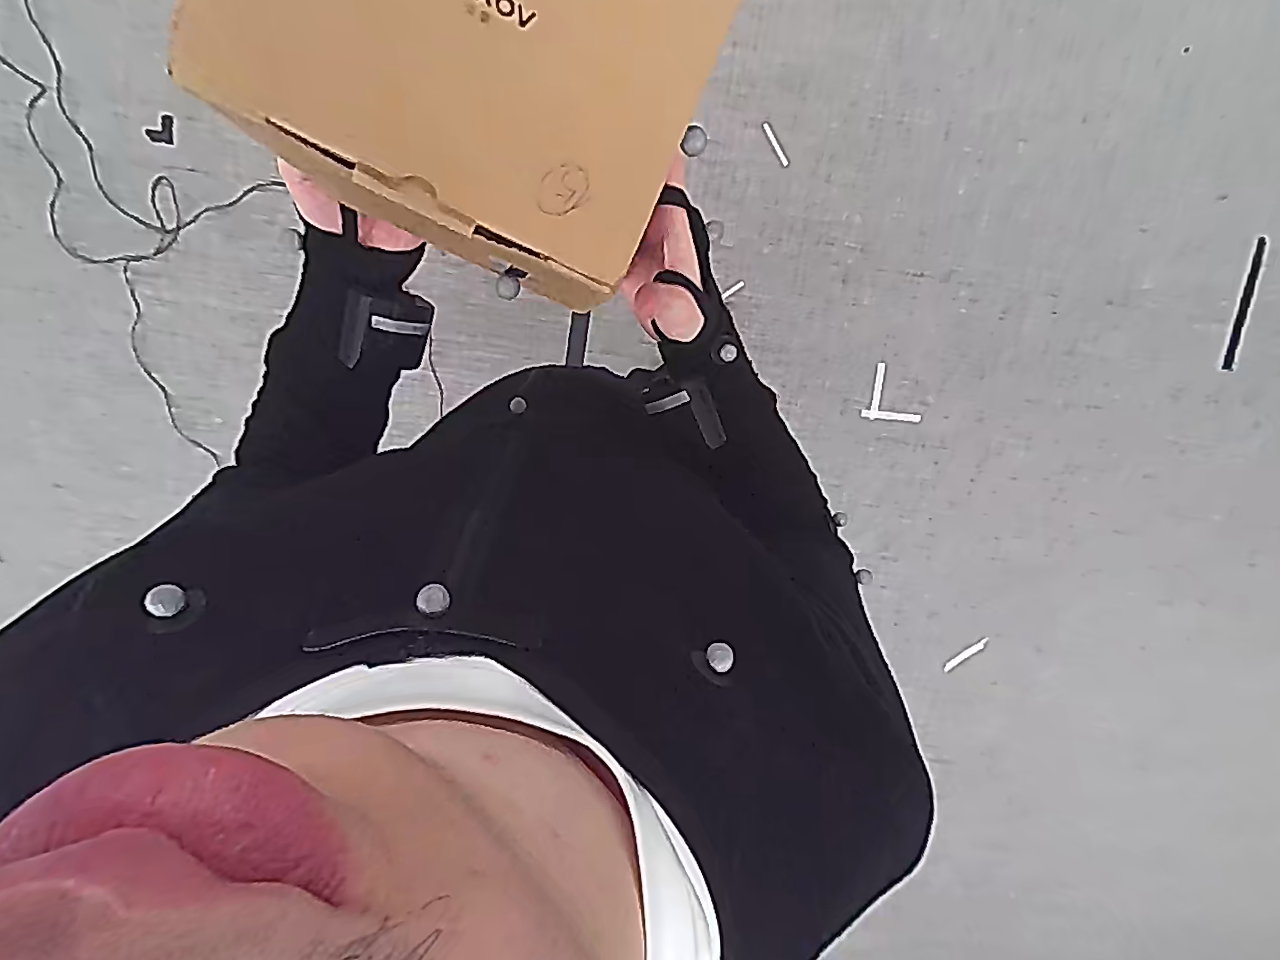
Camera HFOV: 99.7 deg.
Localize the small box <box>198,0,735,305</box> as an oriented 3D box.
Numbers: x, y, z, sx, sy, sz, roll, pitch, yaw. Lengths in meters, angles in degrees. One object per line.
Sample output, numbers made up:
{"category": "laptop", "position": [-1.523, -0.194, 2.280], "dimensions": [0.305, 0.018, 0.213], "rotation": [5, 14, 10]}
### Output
{"category": "small box", "position": [-0.065, -0.203, 0.273], "dimensions": [0.168, 0.176, 0.179], "rotation": [21, 99, -16]}
